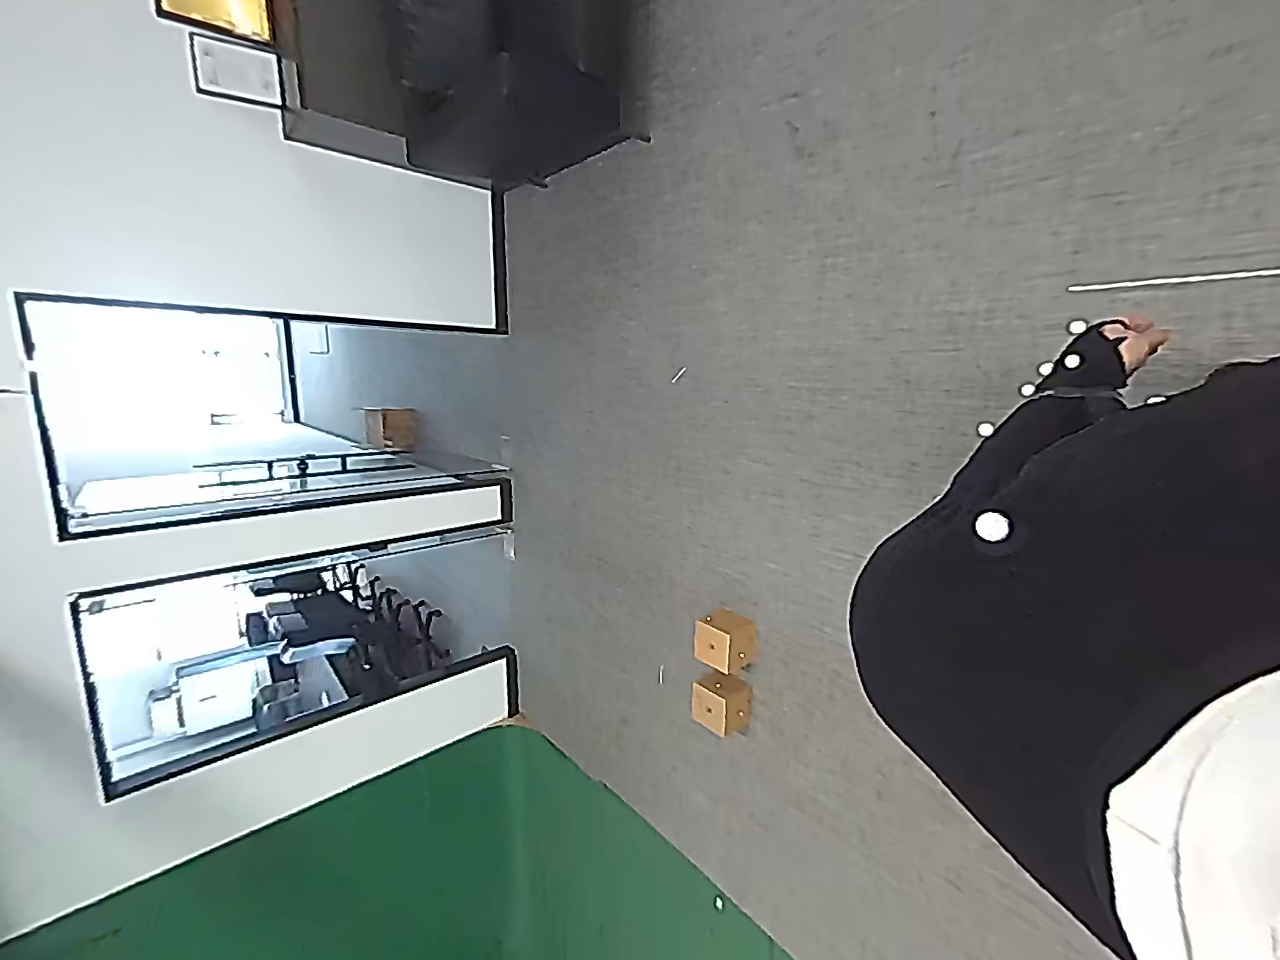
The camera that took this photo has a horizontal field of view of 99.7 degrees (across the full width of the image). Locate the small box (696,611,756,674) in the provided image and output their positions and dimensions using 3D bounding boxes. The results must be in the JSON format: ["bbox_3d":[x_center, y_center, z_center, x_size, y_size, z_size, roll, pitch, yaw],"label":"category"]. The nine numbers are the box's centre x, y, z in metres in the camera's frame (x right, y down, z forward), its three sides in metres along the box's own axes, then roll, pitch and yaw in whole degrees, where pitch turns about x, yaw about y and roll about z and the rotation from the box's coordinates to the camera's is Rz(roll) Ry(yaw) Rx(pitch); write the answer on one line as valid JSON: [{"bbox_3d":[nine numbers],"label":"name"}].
[{"bbox_3d":[0.342,0.637,2.148,0.179,0.176,0.168,13,106,47],"label":"small box"}]

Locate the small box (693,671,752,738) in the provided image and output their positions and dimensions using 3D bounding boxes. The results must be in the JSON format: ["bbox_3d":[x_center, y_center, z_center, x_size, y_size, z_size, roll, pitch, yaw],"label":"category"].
[{"bbox_3d":[0.337,0.901,2.193,0.179,0.176,0.168,13,105,47],"label":"small box"}]
